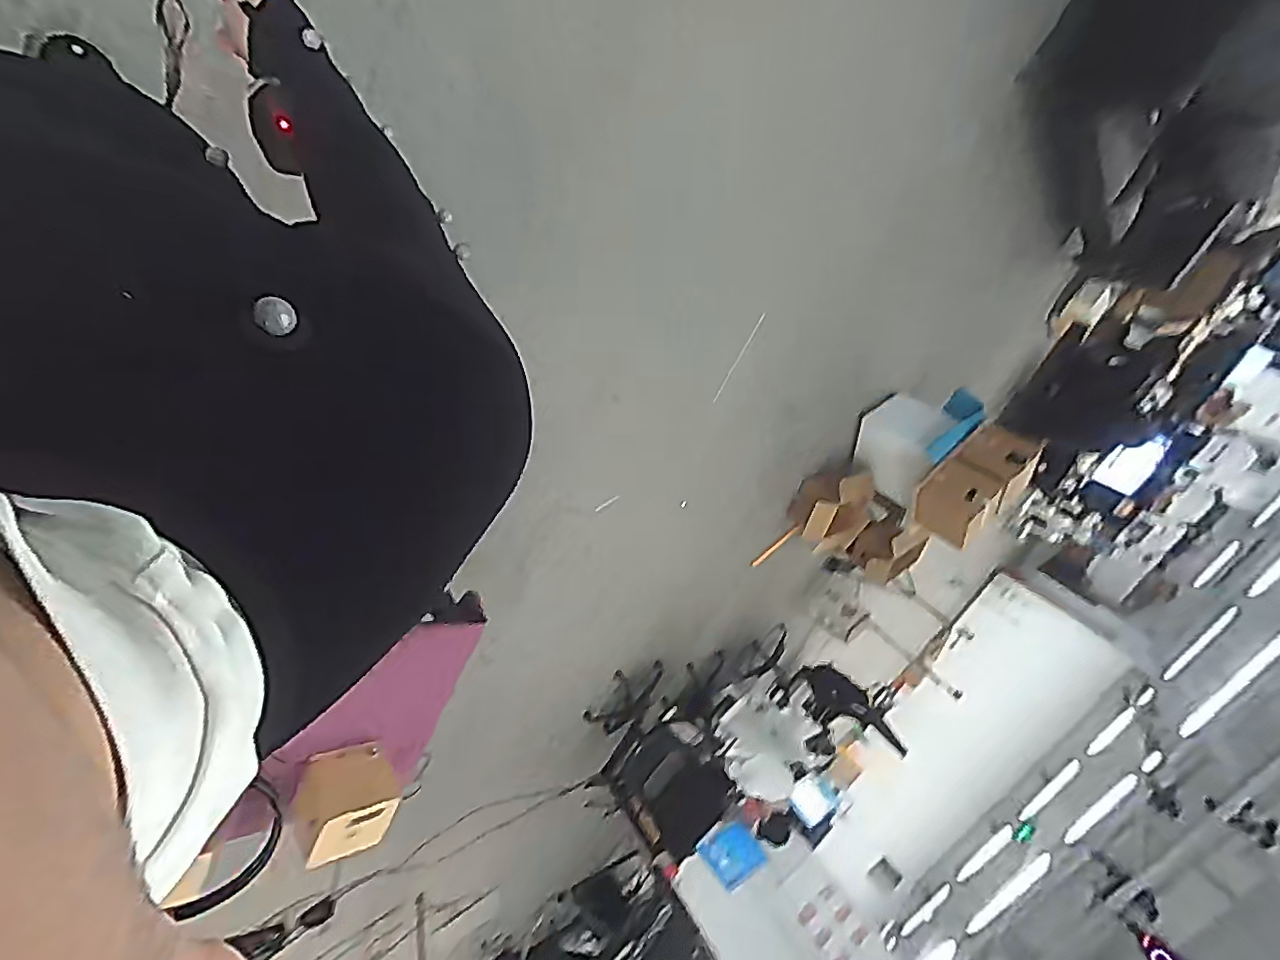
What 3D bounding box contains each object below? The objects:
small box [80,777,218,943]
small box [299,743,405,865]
[{"bbox_3d":[-0.937,0.713,1.035,0.168,0.176,0.179,11,114,-48],"label":"small box"},{"bbox_3d":[-0.697,0.760,1.297,0.168,0.176,0.179,10,116,-46],"label":"small box"}]
